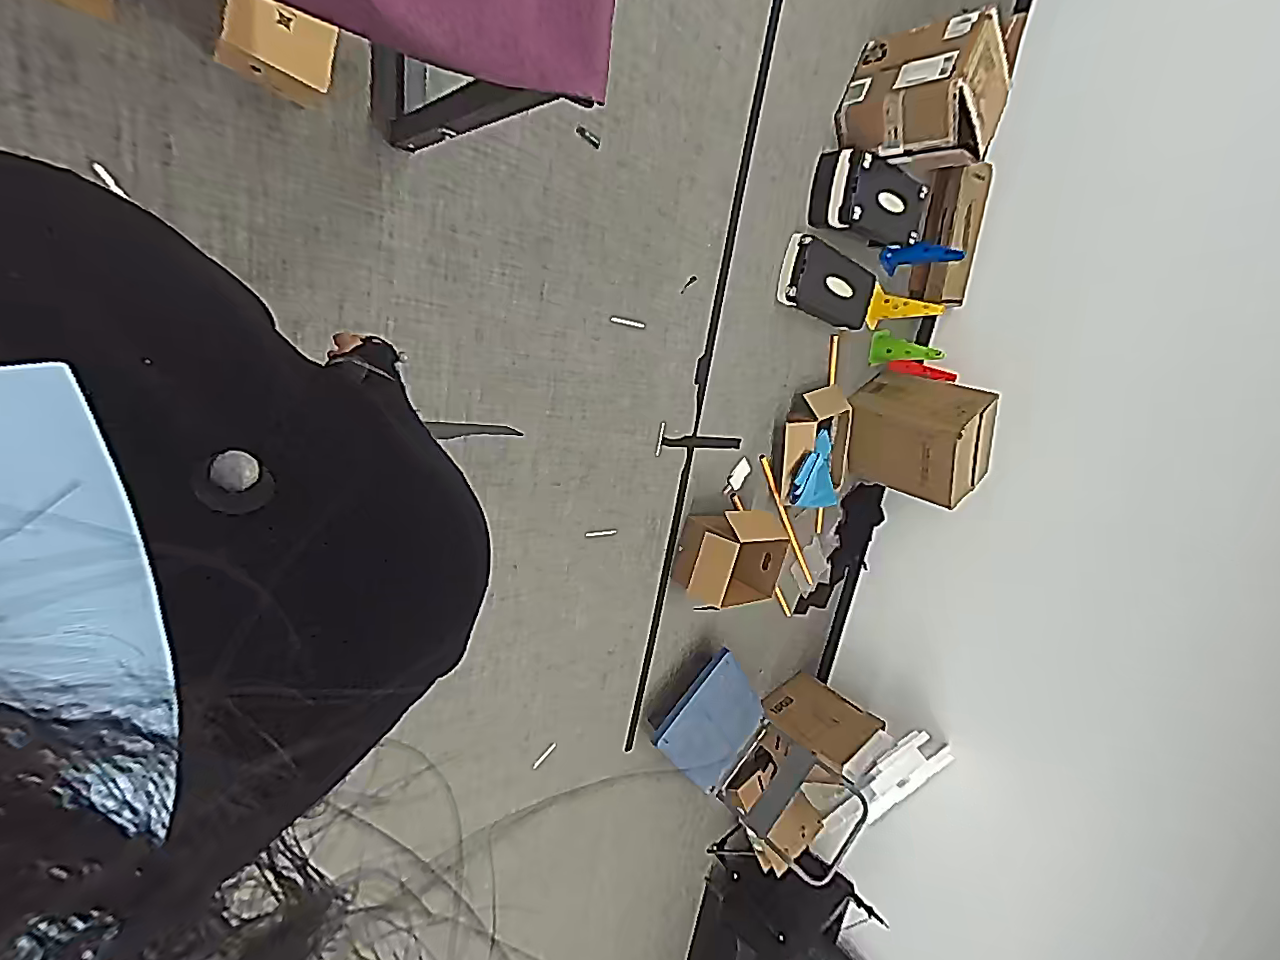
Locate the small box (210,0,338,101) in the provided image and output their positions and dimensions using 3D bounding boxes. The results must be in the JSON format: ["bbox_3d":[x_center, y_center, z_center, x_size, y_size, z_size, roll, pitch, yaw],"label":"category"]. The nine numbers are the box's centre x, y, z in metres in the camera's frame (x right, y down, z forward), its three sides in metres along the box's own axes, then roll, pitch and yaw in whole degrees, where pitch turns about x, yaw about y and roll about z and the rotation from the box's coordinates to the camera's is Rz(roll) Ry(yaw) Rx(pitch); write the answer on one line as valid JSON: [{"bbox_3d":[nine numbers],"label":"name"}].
[{"bbox_3d":[-0.700,-0.865,1.028,0.168,0.176,0.179,8,102,-45],"label":"small box"}]

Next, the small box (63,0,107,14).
[{"bbox_3d":[-0.923,-0.860,0.815,0.168,0.176,0.179,-2,108,-44],"label":"small box"}]
